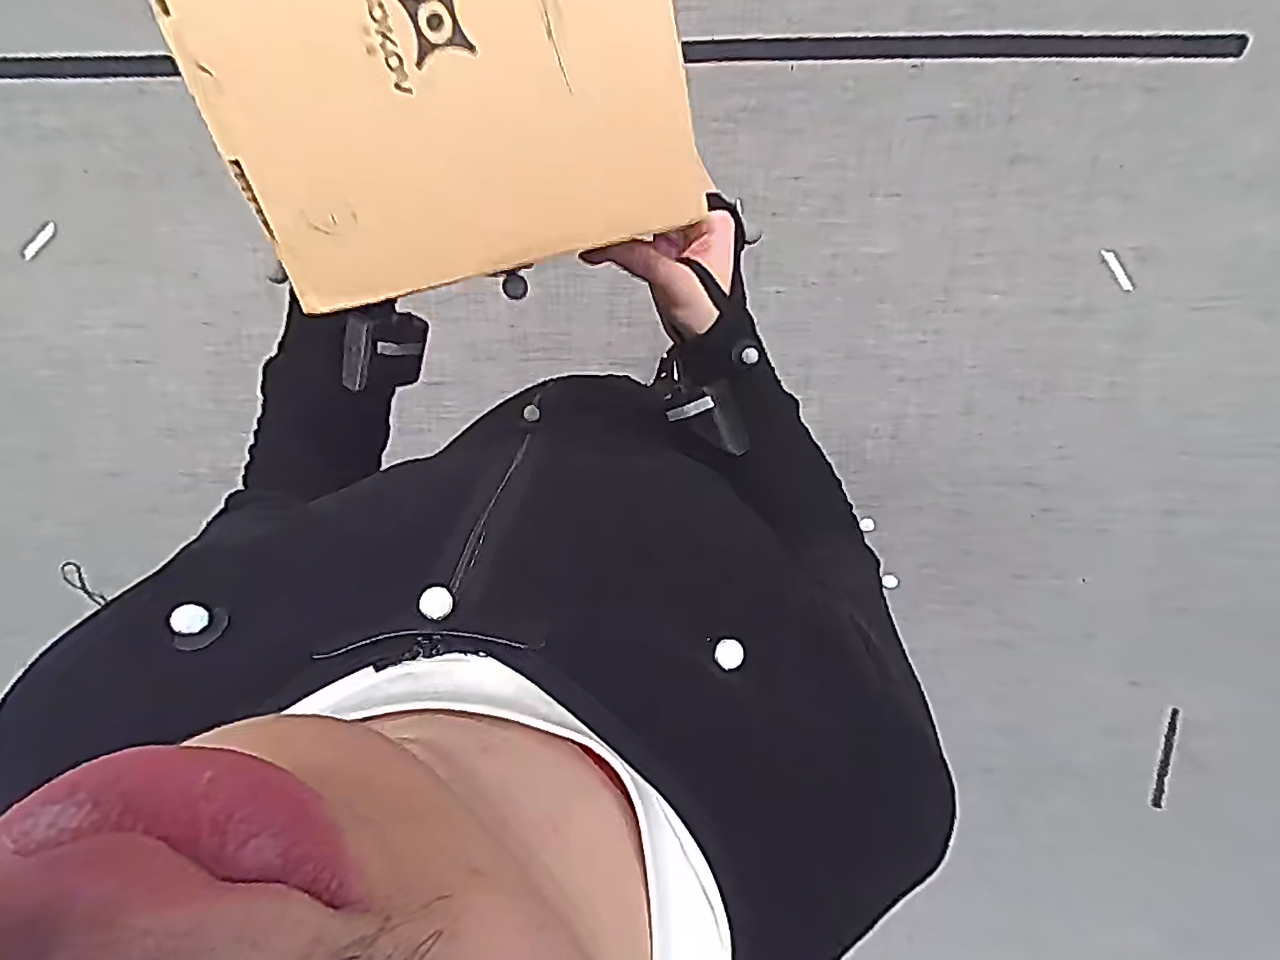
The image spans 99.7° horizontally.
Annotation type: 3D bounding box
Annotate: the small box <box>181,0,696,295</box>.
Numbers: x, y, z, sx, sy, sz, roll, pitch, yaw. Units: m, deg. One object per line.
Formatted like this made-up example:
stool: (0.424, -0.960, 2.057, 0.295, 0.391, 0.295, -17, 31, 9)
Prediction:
small box: (-0.079, -0.202, 0.275, 0.179, 0.176, 0.168, -13, 114, 4)
